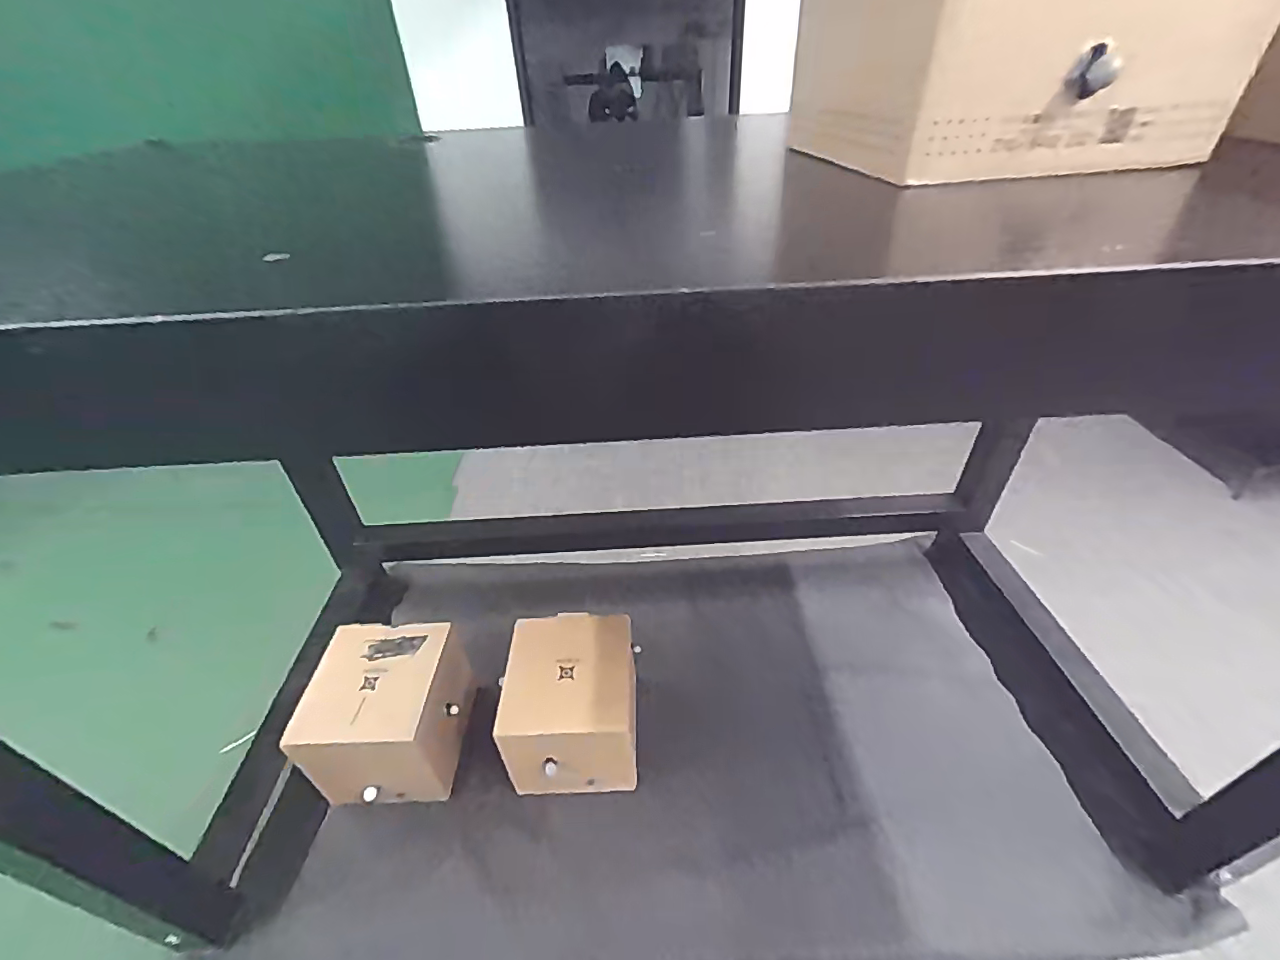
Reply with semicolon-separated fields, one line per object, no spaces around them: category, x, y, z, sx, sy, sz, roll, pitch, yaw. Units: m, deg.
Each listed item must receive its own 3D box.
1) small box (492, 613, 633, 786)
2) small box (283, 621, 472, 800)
small box;-0.096;0.312;0.764;0.168;0.176;0.179;-2;37;0
small box;-0.348;0.322;0.763;0.168;0.176;0.179;-2;38;1
